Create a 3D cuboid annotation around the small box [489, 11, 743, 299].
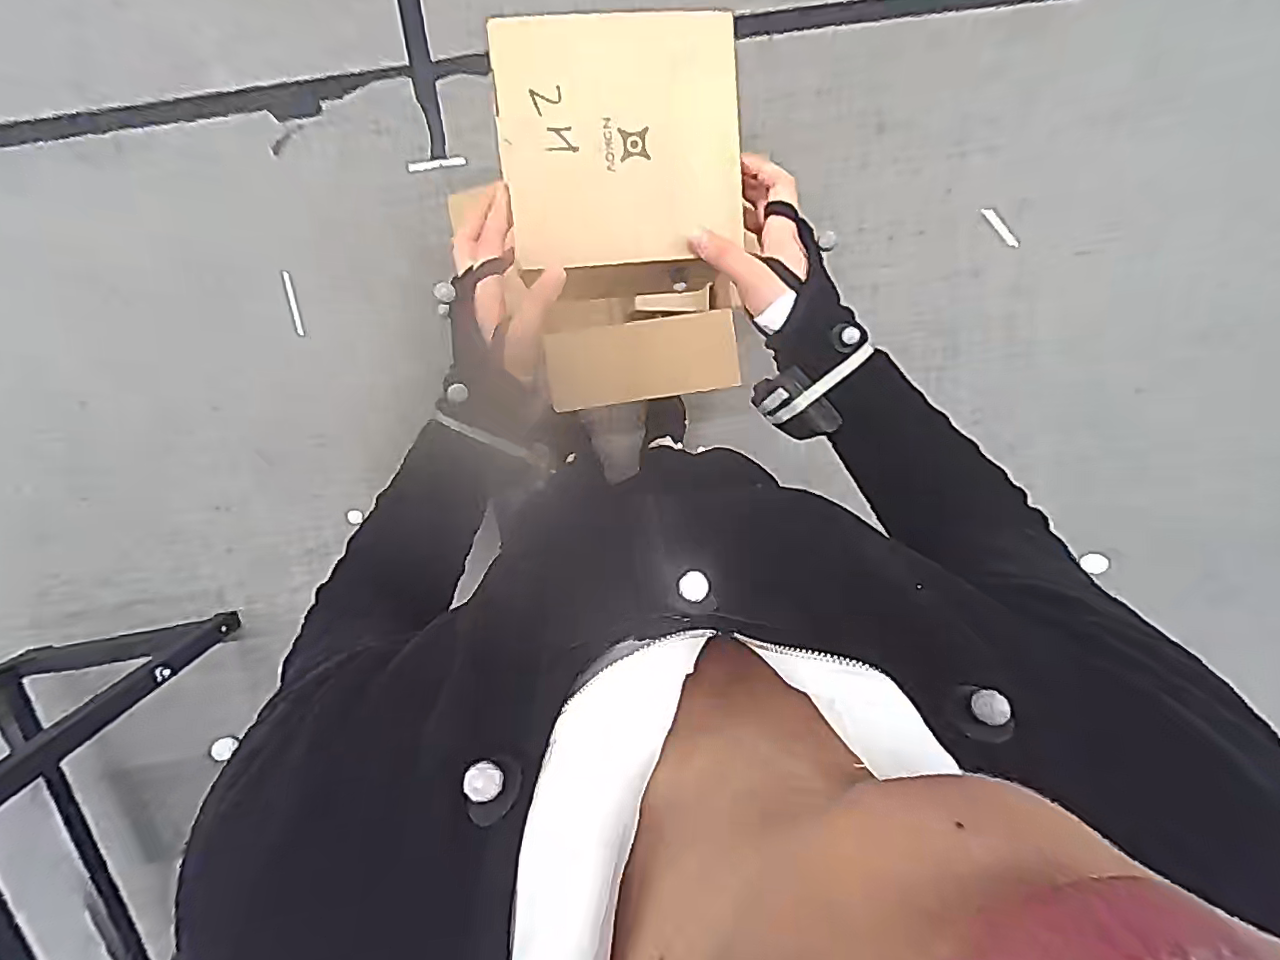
[{"bbox_3d":[-0.021,-0.256,0.466,0.179,0.176,0.168,-6,101,-5],"label":"small box"}]
